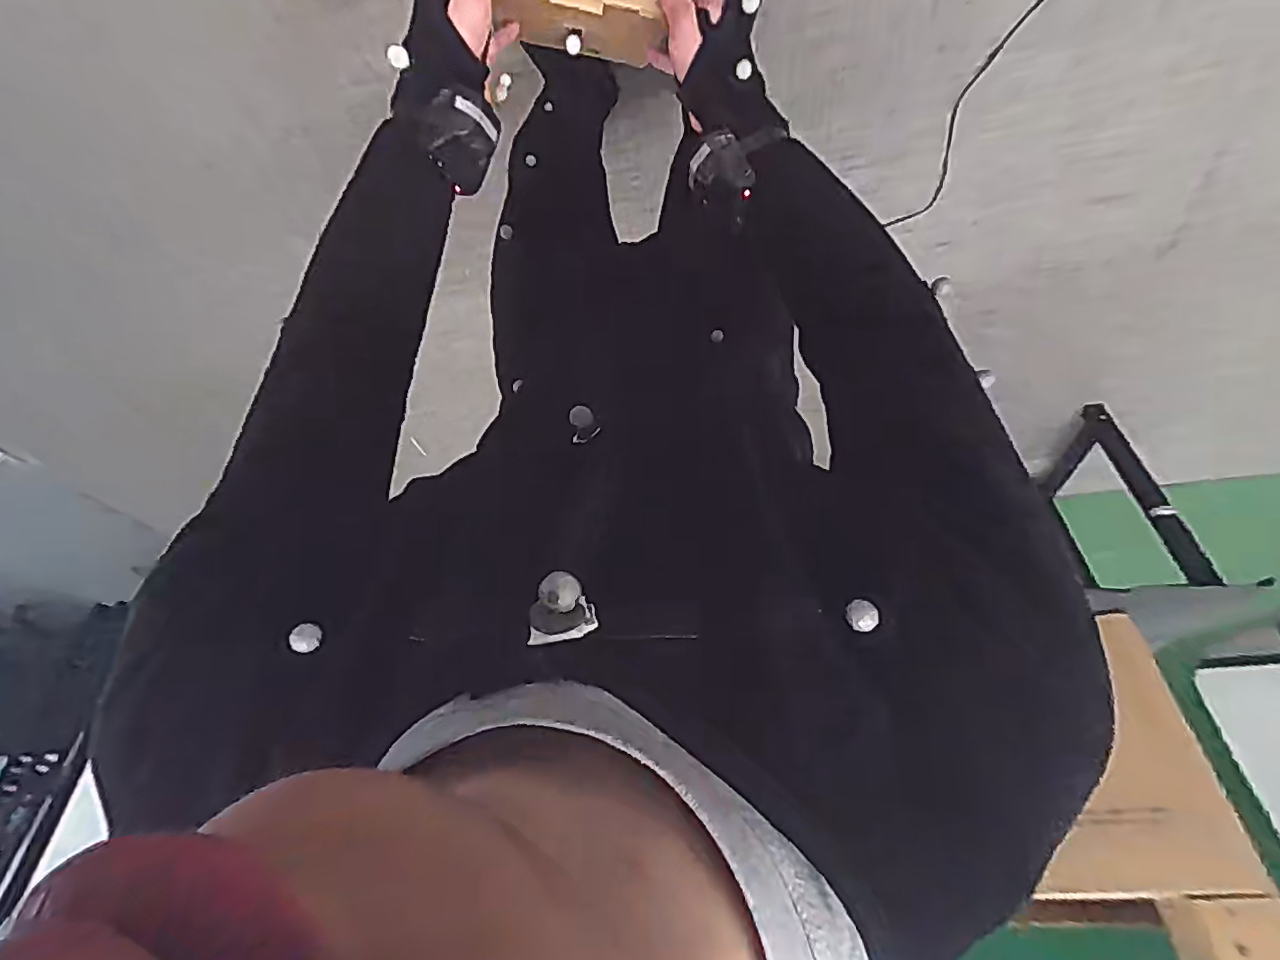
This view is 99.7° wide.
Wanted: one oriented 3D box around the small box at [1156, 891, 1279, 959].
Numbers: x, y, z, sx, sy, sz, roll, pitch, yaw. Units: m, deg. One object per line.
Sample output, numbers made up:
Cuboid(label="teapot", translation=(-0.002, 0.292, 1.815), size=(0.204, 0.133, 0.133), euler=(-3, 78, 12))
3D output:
Cuboid(label="small box", translation=(1.301, 1.017, 1.187), size=(0.168, 0.176, 0.179), euler=(-9, 146, 12))

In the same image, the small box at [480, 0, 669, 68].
Cuboid(label="small box", translation=(-0.052, -0.510, 0.496), size=(0.168, 0.176, 0.179), euler=(5, 116, -9))
